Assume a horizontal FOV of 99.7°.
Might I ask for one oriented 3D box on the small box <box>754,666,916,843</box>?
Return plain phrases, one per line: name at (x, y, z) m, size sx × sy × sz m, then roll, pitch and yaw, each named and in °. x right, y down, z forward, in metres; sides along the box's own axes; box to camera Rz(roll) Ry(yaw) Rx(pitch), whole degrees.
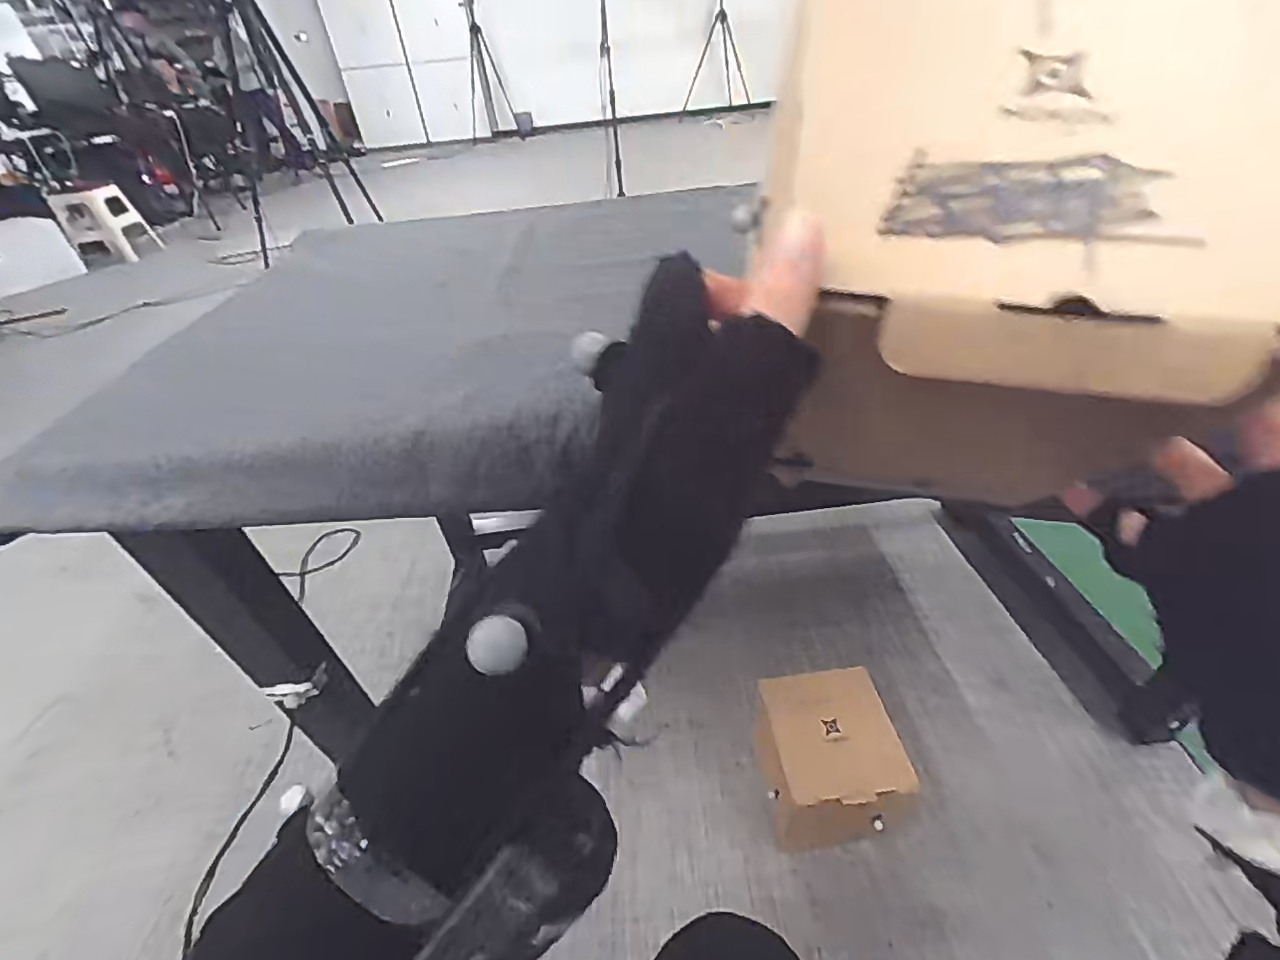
small box at (0.270, 0.405, 0.793) m, size 0.168 × 0.176 × 0.179 m, roll -7°, pitch 37°, yaw -2°
